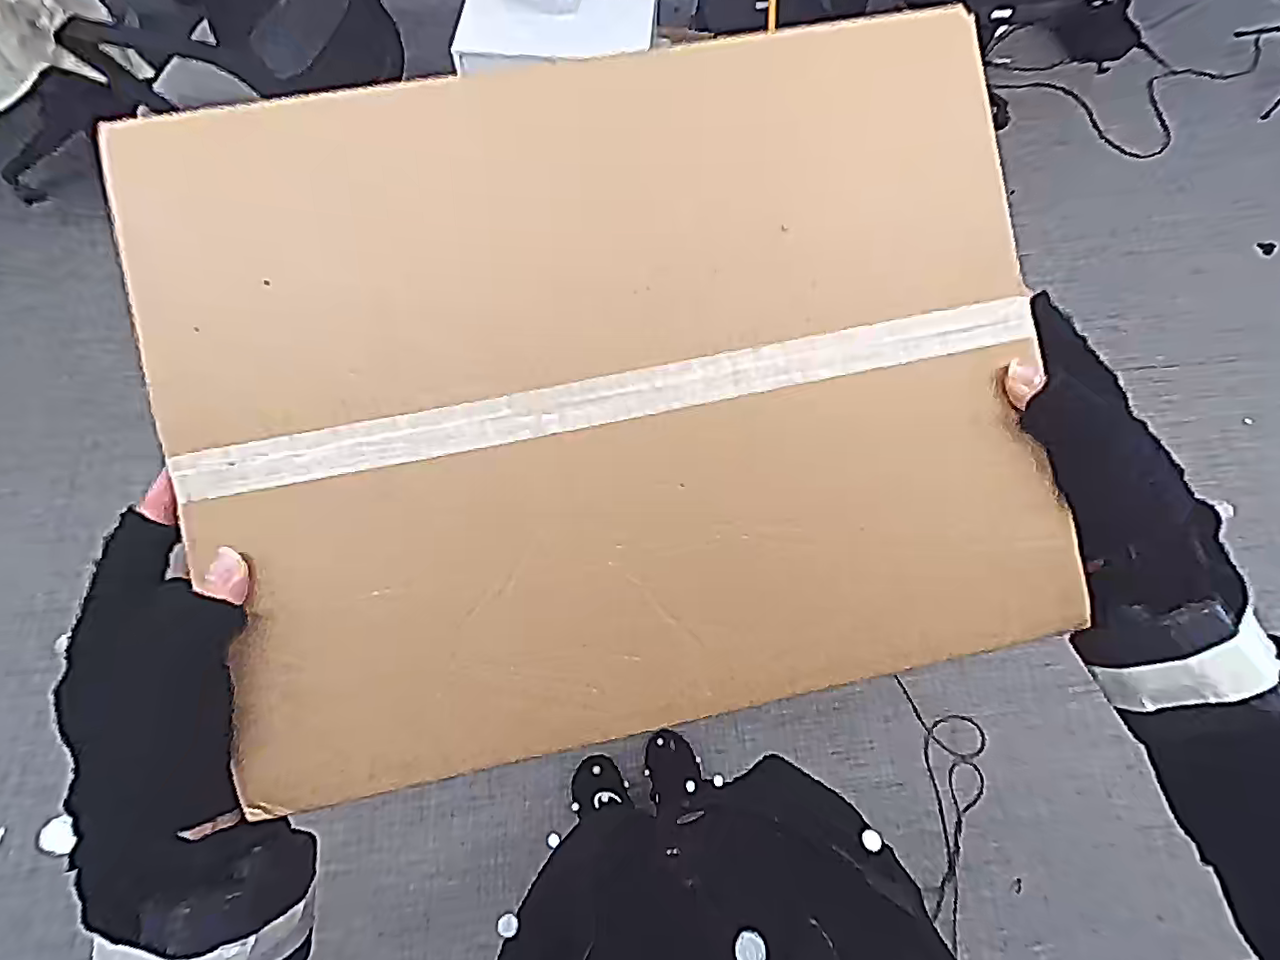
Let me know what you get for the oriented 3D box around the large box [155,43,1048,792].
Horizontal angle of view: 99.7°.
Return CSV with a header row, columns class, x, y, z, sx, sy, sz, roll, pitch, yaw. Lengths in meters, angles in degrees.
class,x,y,z,sx,sy,sz,roll,pitch,yaw
large box,-0.015,-0.040,0.416,0.408,0.320,0.320,-11,90,-4
